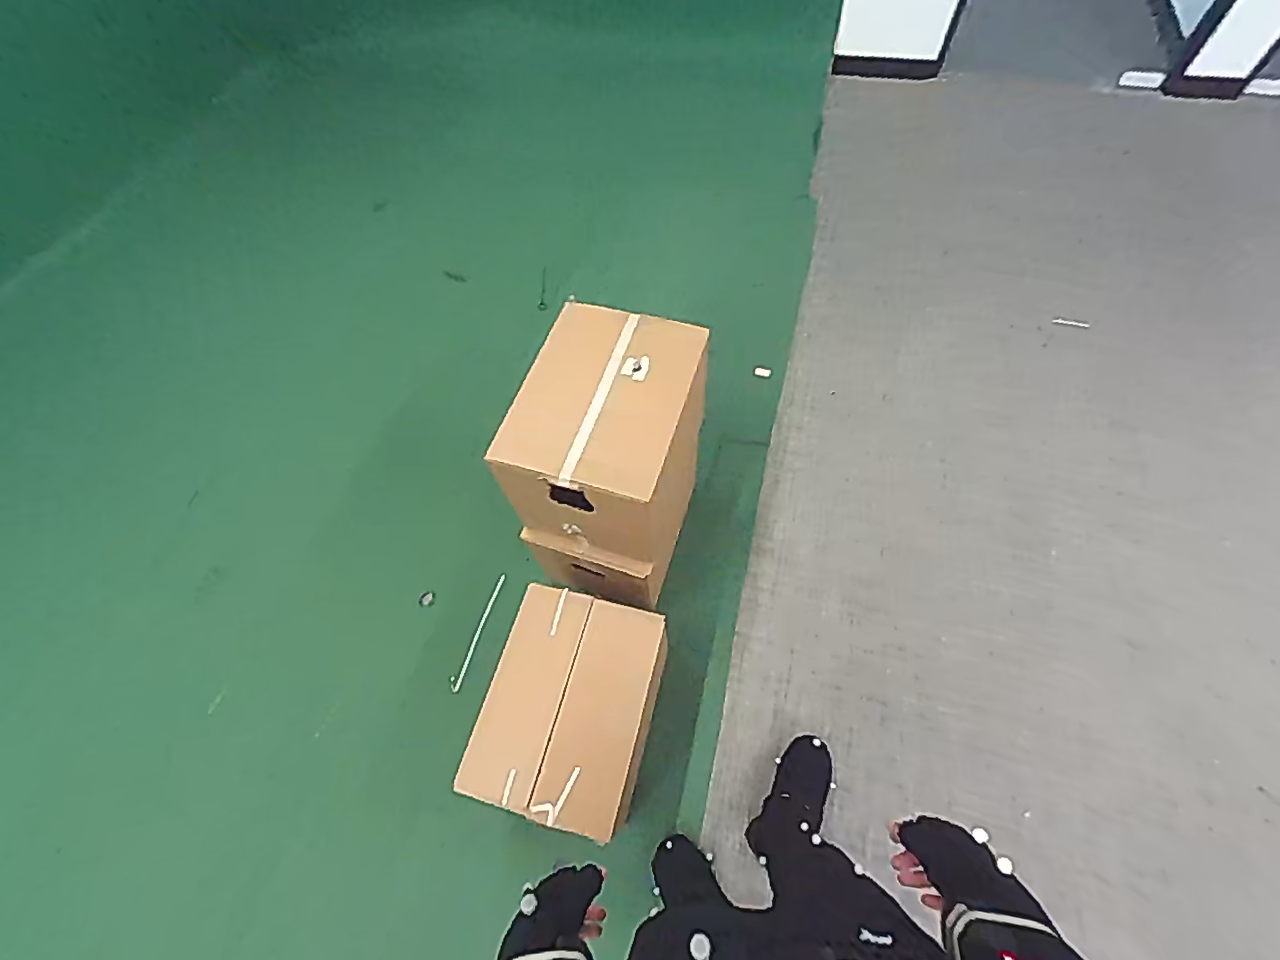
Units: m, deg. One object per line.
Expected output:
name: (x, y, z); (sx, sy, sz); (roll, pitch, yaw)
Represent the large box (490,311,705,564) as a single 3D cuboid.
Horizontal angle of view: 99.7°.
large box: (-0.062, -0.084, 1.154); (0.320, 0.320, 0.408); (15, 62, 10)
